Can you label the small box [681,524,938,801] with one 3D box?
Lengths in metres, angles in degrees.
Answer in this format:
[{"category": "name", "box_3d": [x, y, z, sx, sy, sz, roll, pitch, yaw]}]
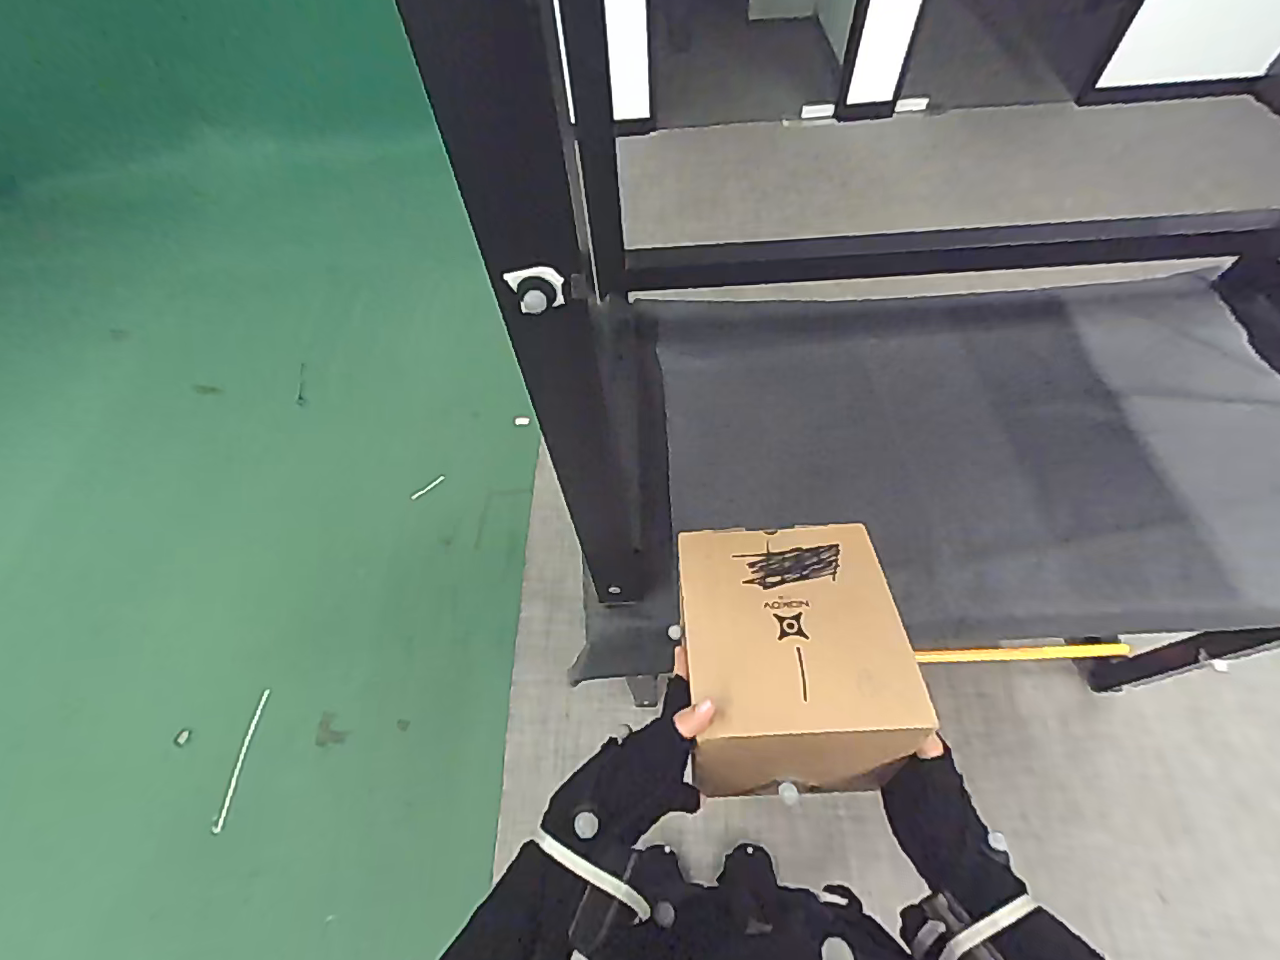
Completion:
[{"category": "small box", "box_3d": [0.122, 0.161, 0.476, 0.168, 0.176, 0.179, -4, 46, 3]}]
